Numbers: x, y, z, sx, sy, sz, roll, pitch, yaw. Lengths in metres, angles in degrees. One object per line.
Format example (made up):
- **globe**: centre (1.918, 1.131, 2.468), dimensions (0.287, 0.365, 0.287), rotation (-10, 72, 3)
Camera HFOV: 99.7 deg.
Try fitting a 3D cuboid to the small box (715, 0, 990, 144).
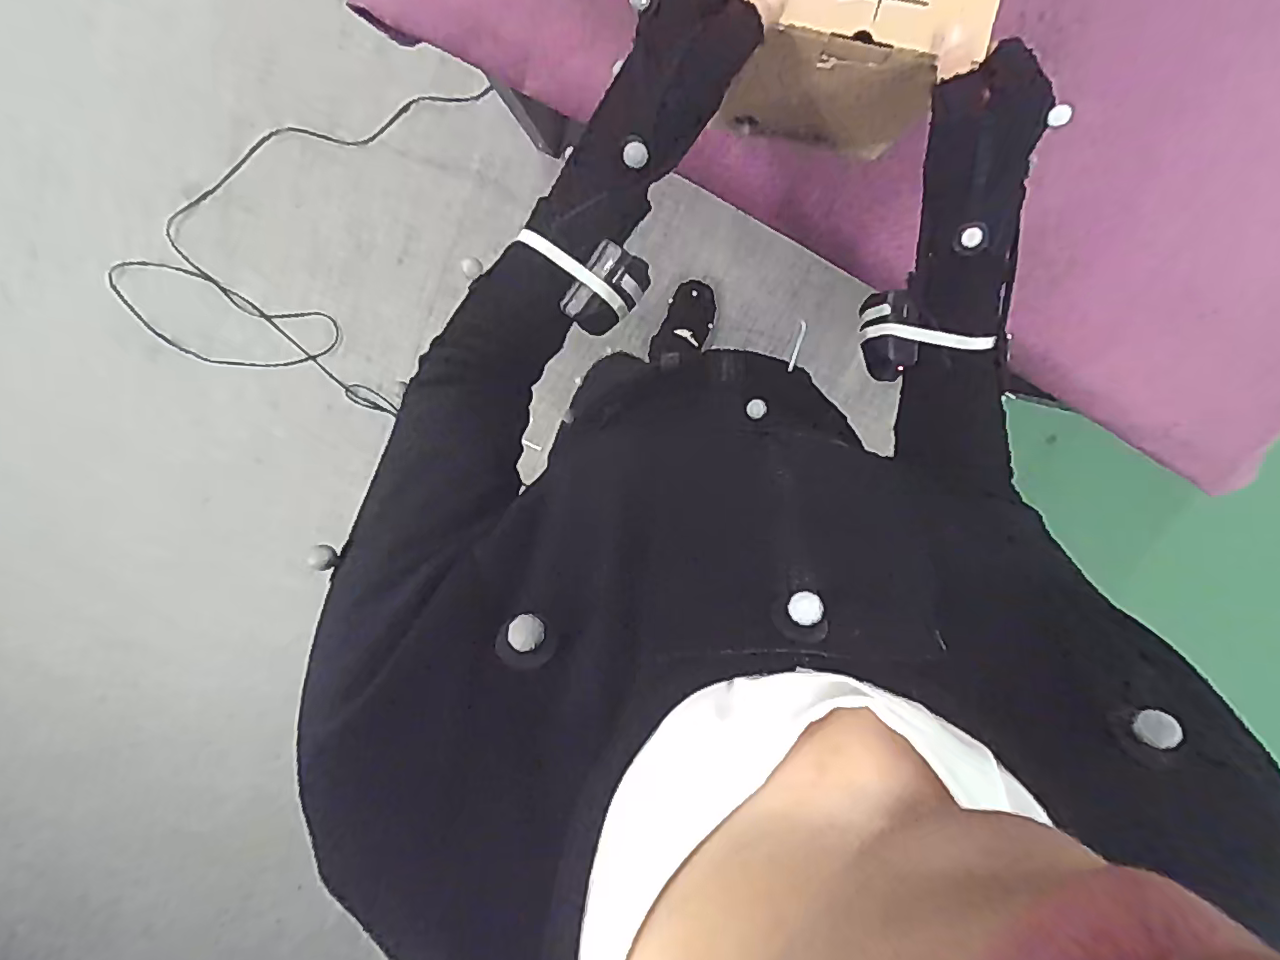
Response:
- **small box**: centre (0.159, -0.393, 0.418), dimensions (0.168, 0.176, 0.179), rotation (10, 102, -2)
